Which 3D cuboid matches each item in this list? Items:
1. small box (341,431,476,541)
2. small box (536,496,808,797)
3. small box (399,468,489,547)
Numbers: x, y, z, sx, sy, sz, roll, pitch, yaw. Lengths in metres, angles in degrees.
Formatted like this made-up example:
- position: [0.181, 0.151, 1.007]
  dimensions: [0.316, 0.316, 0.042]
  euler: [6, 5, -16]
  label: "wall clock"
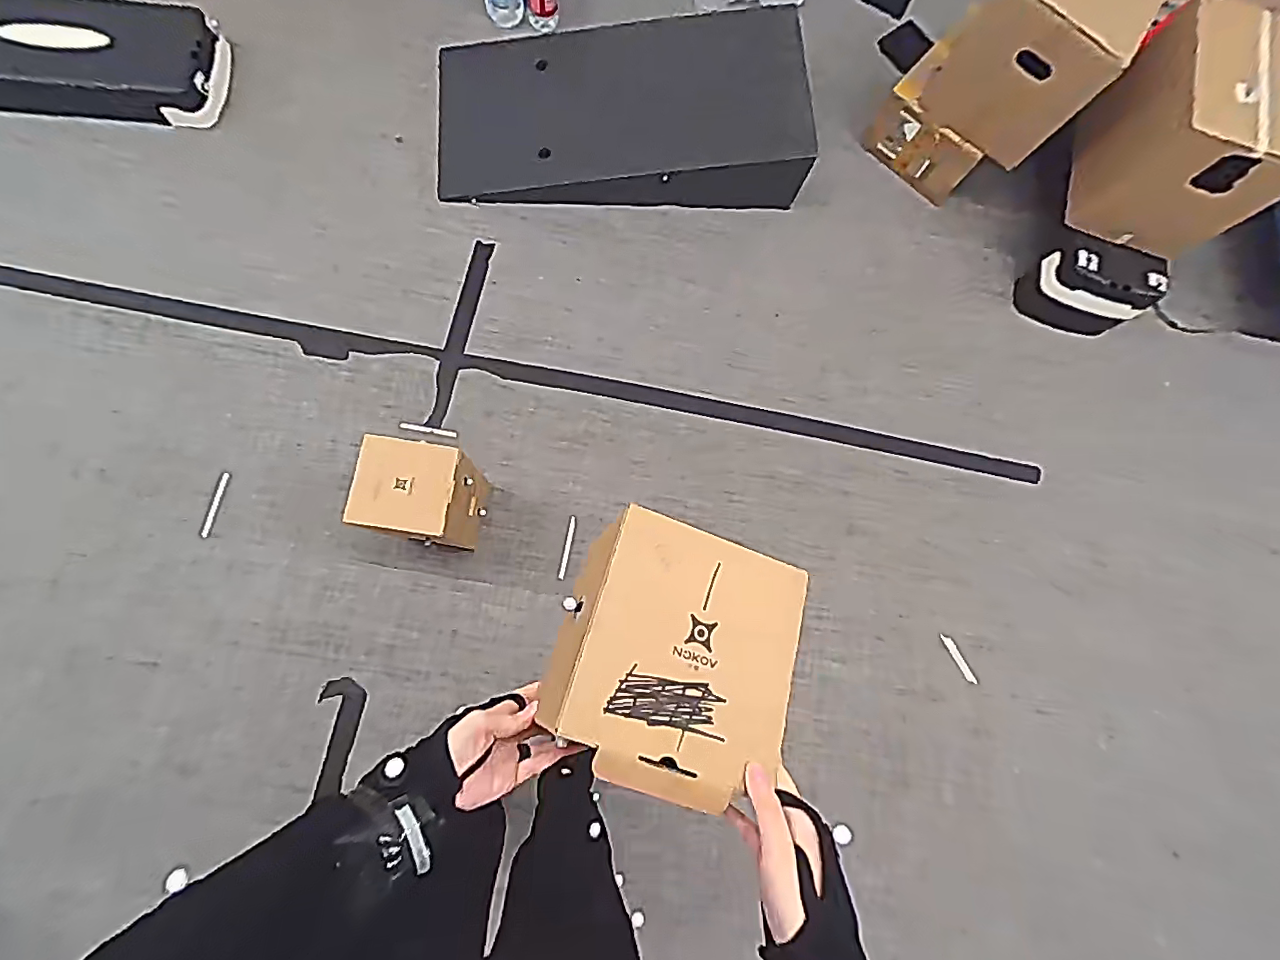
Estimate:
- position: [-0.427, 0.020, 1.032]
  dimensions: [0.179, 0.176, 0.168]
  euler: [10, 77, -4]
  label: "small box"
- position: [0.017, 0.144, 0.471]
  dimensions: [0.168, 0.176, 0.179]
  euler: [23, 65, -9]
  label: "small box"
- position: [-0.443, 0.050, 1.192]
  dimensions: [0.179, 0.176, 0.168]
  euler: [12, 77, -5]
  label: "small box"
